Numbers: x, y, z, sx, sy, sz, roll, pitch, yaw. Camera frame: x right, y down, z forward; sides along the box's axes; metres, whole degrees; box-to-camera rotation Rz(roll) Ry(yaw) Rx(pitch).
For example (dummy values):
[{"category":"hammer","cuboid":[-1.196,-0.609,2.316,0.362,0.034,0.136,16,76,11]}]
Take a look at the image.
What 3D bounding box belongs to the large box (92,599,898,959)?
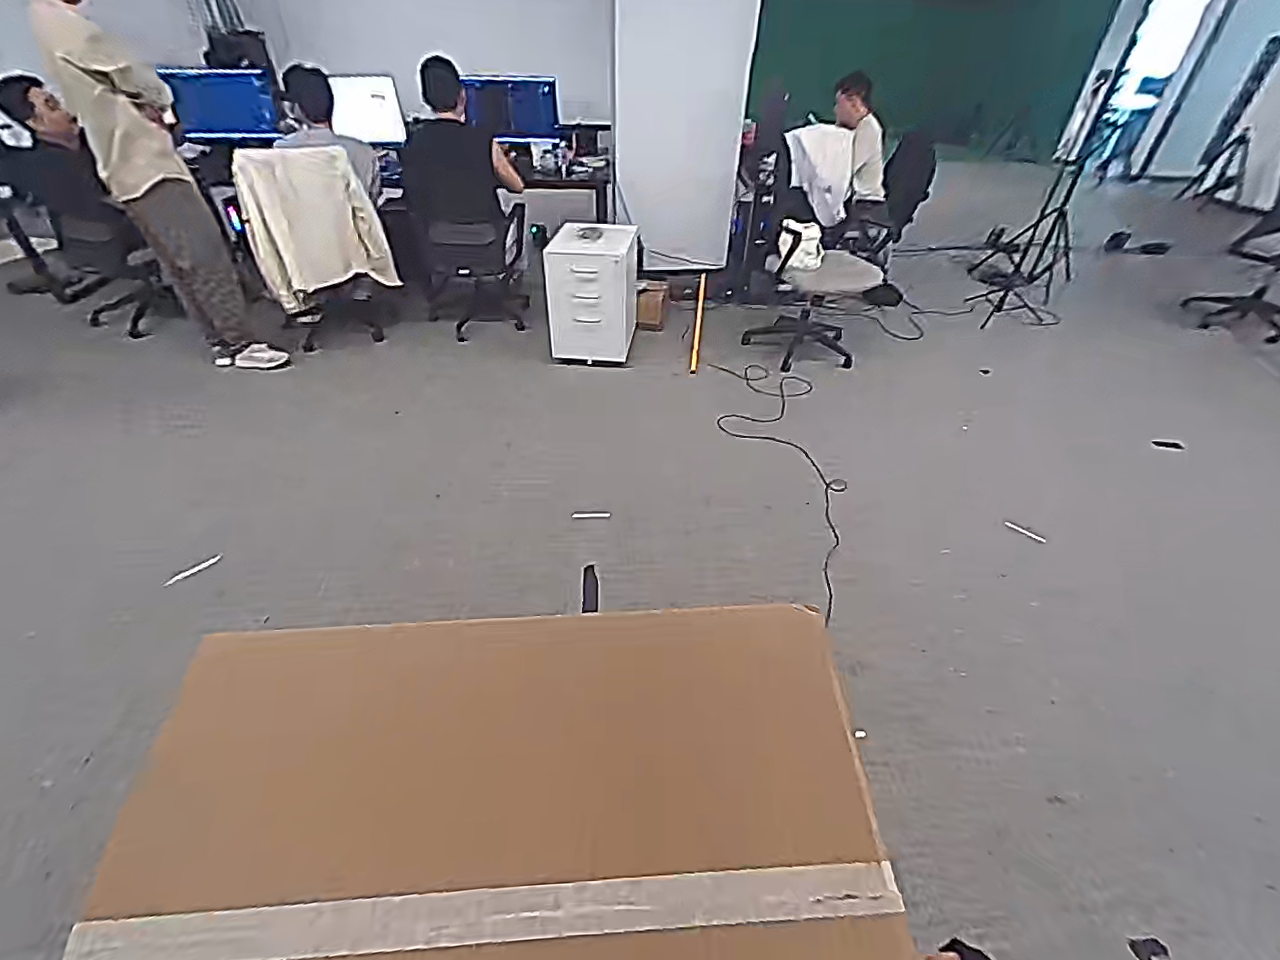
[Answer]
[{"category":"large box","cuboid":[-0.074,0.306,0.402,0.408,0.320,0.320,-2,54,-2]}]
